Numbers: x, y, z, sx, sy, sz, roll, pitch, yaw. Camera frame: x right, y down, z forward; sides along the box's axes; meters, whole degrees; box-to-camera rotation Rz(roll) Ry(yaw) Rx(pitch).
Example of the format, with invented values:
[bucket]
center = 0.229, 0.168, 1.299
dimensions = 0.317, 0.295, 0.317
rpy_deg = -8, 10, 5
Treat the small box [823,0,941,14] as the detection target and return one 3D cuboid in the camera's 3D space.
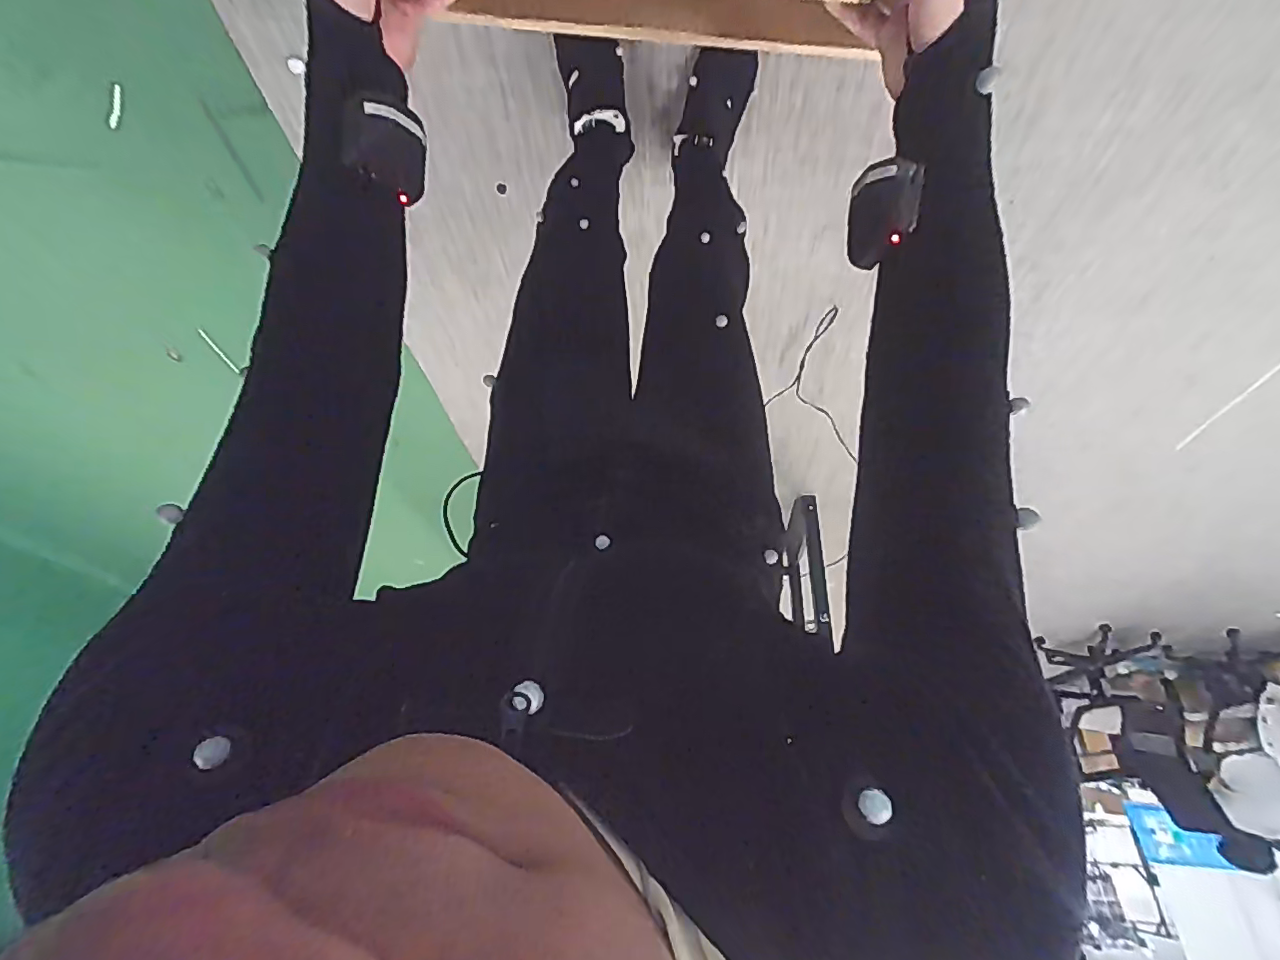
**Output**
[small box]
center = 0.155, -0.475, 0.380
dimensions = 0.168, 0.176, 0.179
rpy_deg = 4, 146, -3
